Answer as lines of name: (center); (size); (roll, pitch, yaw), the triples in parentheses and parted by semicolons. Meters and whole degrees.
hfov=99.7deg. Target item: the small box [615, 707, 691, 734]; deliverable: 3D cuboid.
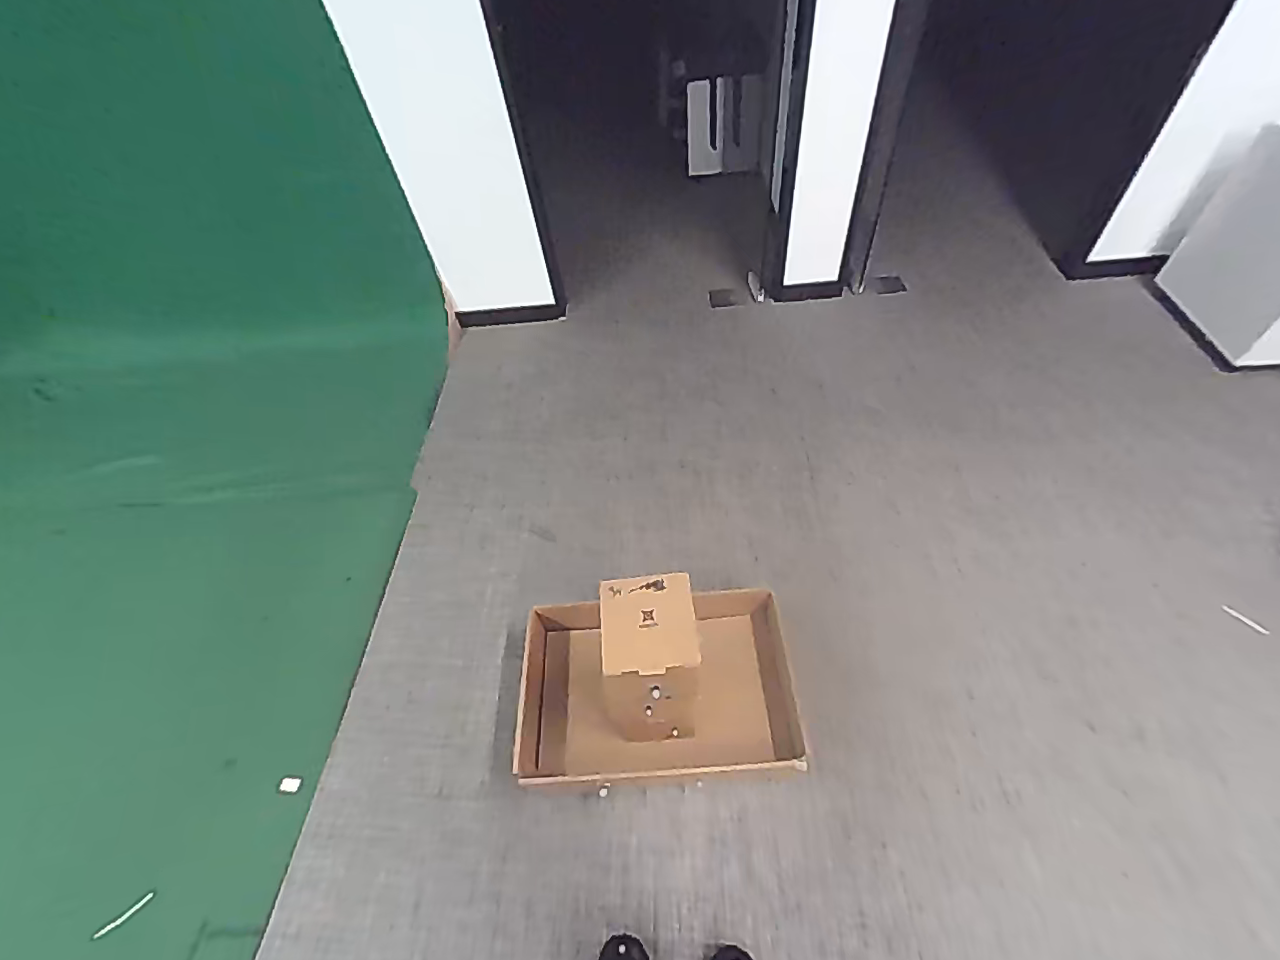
small box: (0.031, 0.485, 1.269); (0.168, 0.176, 0.179); (-5, 50, 2)

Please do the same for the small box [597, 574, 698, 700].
small box: (0.016, 0.302, 1.021); (0.168, 0.176, 0.179); (-8, 51, 1)
